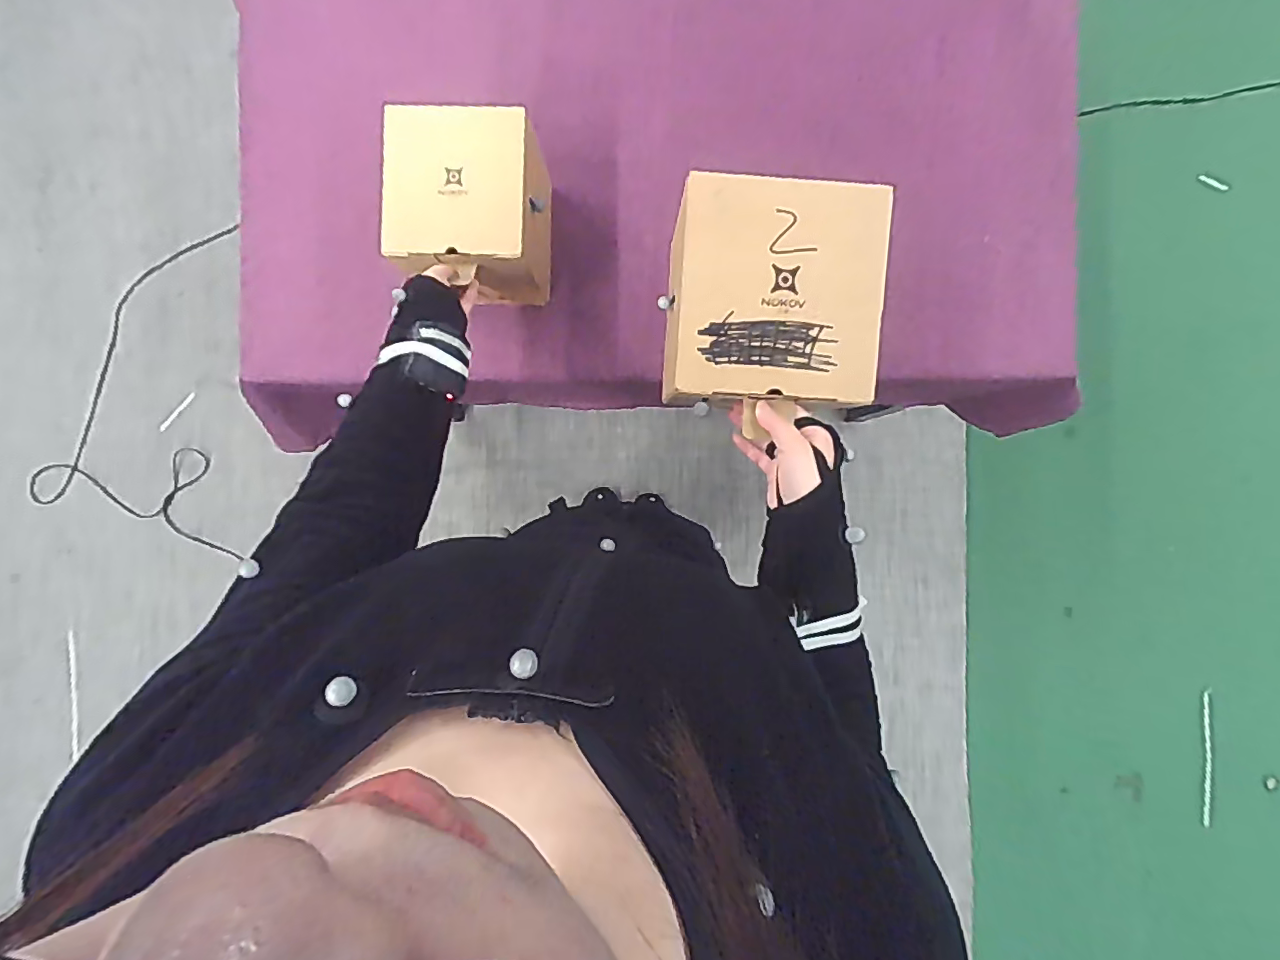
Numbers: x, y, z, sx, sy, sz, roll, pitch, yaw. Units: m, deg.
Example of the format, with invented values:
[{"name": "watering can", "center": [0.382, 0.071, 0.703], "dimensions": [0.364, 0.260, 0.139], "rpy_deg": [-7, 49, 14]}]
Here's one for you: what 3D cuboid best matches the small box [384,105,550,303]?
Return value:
[{"name": "small box", "center": [-0.217, -0.353, 0.717], "dimensions": [0.168, 0.176, 0.179], "rpy_deg": [2, 90, 0]}]
